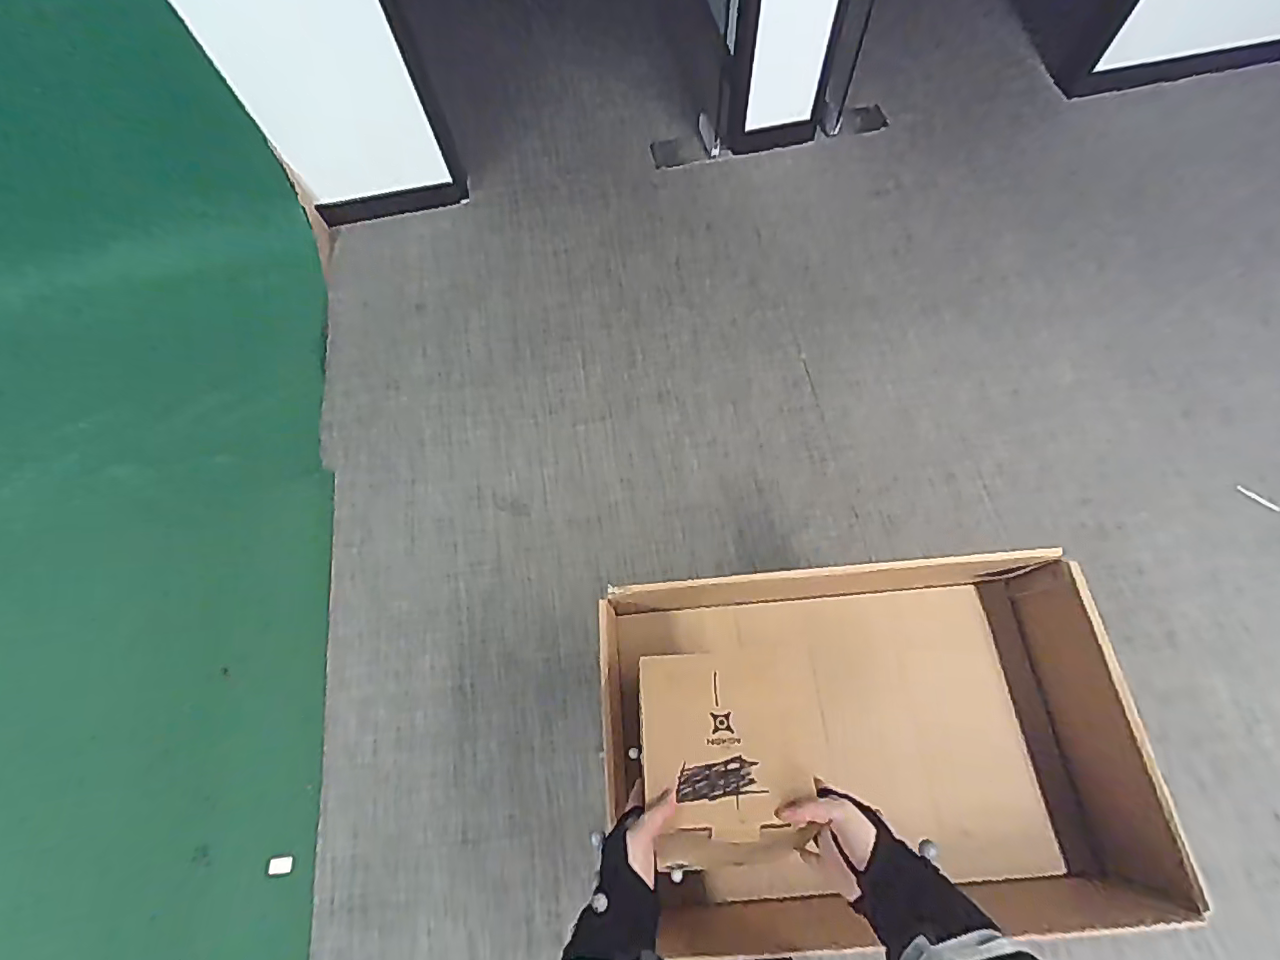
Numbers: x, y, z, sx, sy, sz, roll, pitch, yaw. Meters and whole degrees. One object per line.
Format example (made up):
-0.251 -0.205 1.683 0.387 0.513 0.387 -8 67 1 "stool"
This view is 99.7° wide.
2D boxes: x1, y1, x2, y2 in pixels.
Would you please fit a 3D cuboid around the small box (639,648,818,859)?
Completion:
0.086 0.315 0.617 0.168 0.176 0.179 -2 44 -2 "small box"
